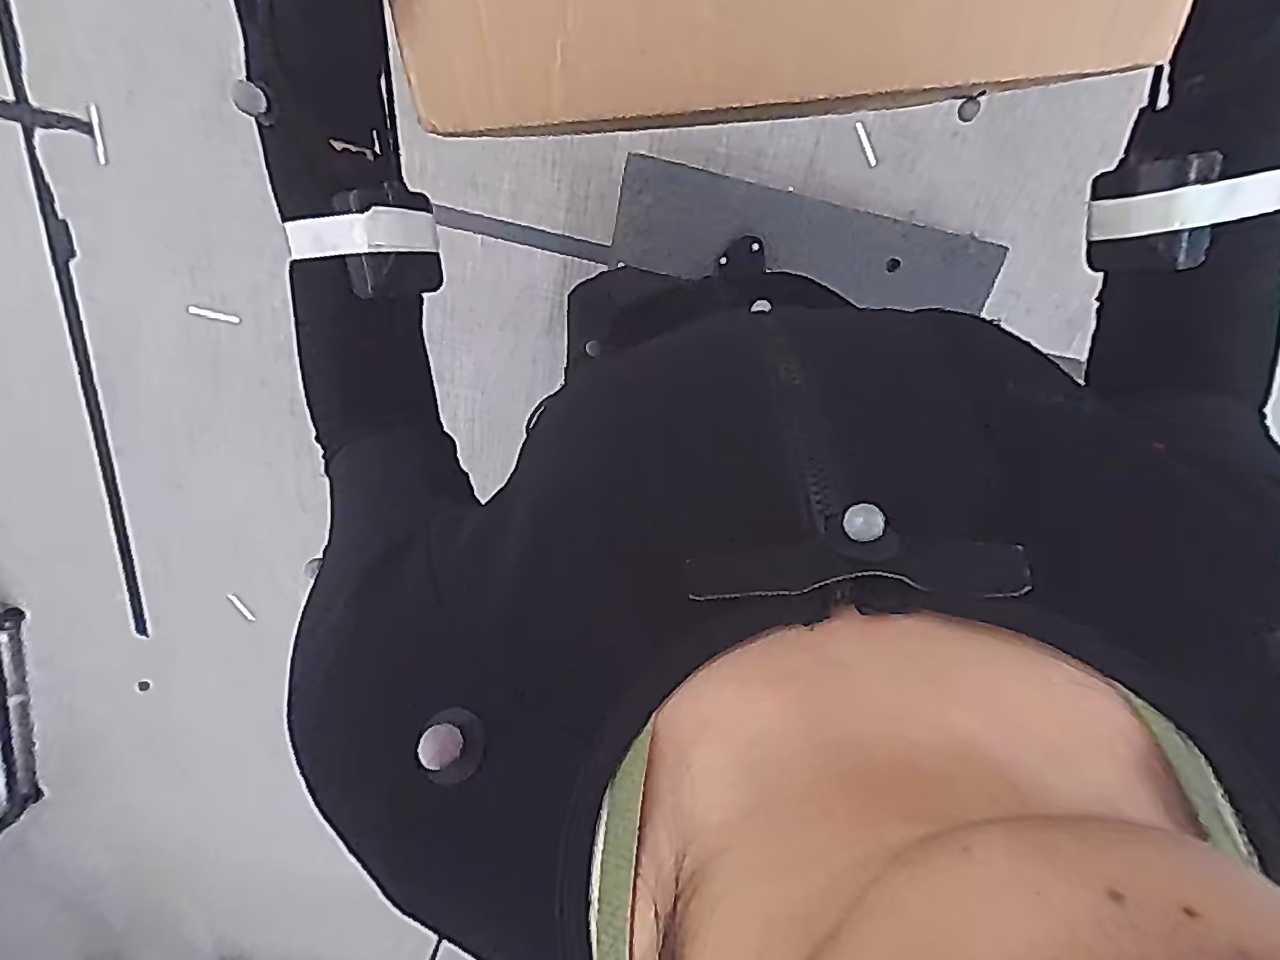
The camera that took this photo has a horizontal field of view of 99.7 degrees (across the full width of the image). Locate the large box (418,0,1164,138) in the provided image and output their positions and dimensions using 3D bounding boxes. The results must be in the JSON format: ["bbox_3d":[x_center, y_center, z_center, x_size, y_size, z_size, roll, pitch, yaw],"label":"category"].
[{"bbox_3d":[0.077,-0.428,0.358,0.408,0.320,0.320,-2,122,5],"label":"large box"}]

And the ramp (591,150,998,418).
[{"bbox_3d":[0.401,-0.466,1.404,0.991,0.206,0.509,11,113,-1],"label":"ramp"}]
